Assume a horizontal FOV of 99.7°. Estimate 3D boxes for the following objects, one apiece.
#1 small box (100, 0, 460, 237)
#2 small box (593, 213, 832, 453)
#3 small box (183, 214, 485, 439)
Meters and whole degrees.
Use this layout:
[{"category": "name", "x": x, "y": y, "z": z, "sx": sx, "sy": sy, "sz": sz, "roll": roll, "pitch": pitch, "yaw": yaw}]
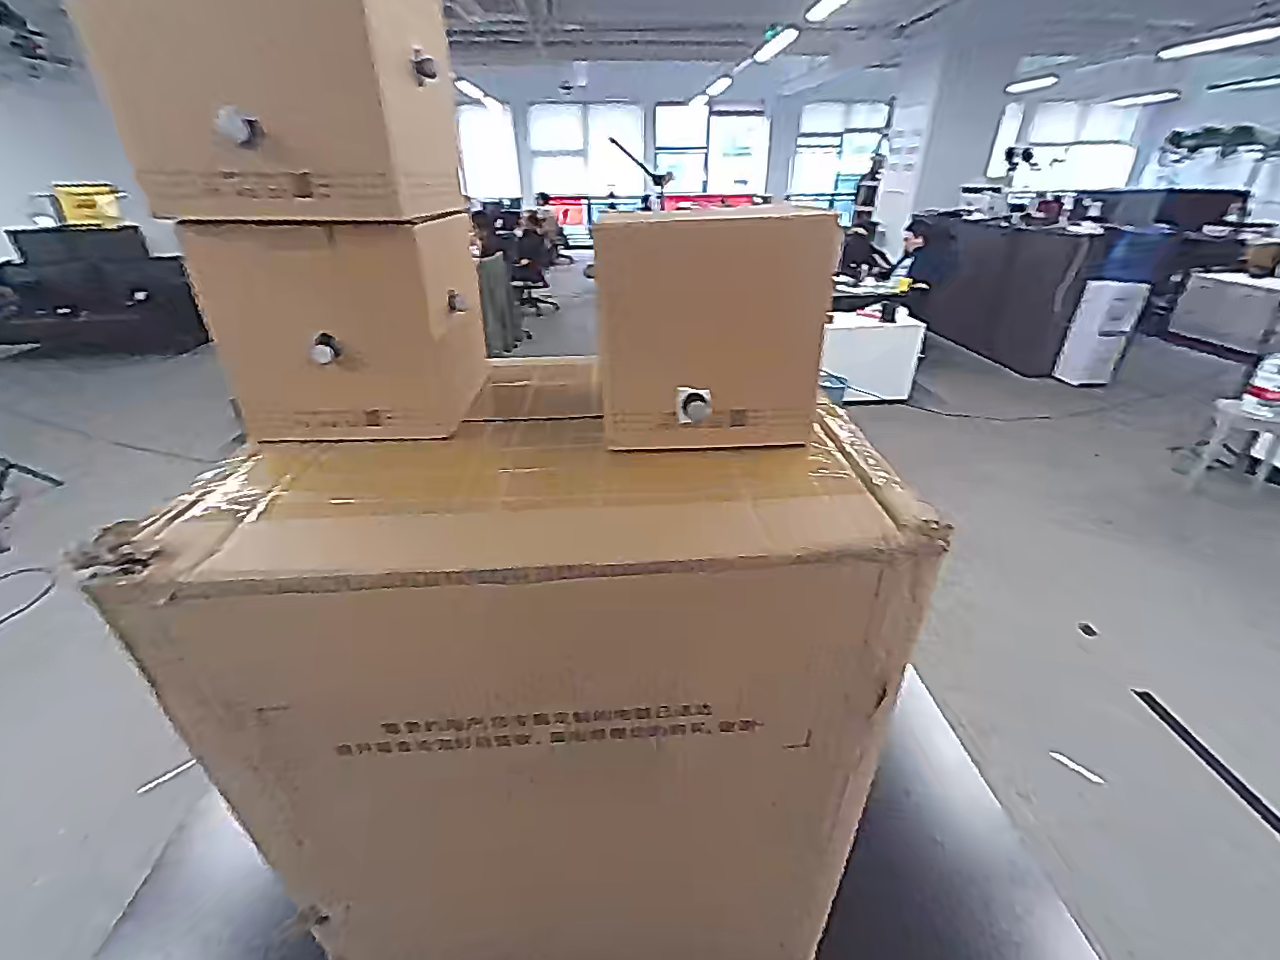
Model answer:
[{"category": "small box", "x": -0.240, "y": -0.281, "z": 0.400, "sx": 0.168, "sy": 0.176, "sz": 0.179, "roll": -1, "pitch": 29, "yaw": -3}, {"category": "small box", "x": 0.049, "y": -0.135, "z": 0.474, "sx": 0.168, "sy": 0.176, "sz": 0.179, "roll": -4, "pitch": 29, "yaw": -1}, {"category": "small box", "x": -0.245, "y": -0.143, "z": 0.493, "sx": 0.168, "sy": 0.176, "sz": 0.179, "roll": -1, "pitch": 29, "yaw": -4}]
